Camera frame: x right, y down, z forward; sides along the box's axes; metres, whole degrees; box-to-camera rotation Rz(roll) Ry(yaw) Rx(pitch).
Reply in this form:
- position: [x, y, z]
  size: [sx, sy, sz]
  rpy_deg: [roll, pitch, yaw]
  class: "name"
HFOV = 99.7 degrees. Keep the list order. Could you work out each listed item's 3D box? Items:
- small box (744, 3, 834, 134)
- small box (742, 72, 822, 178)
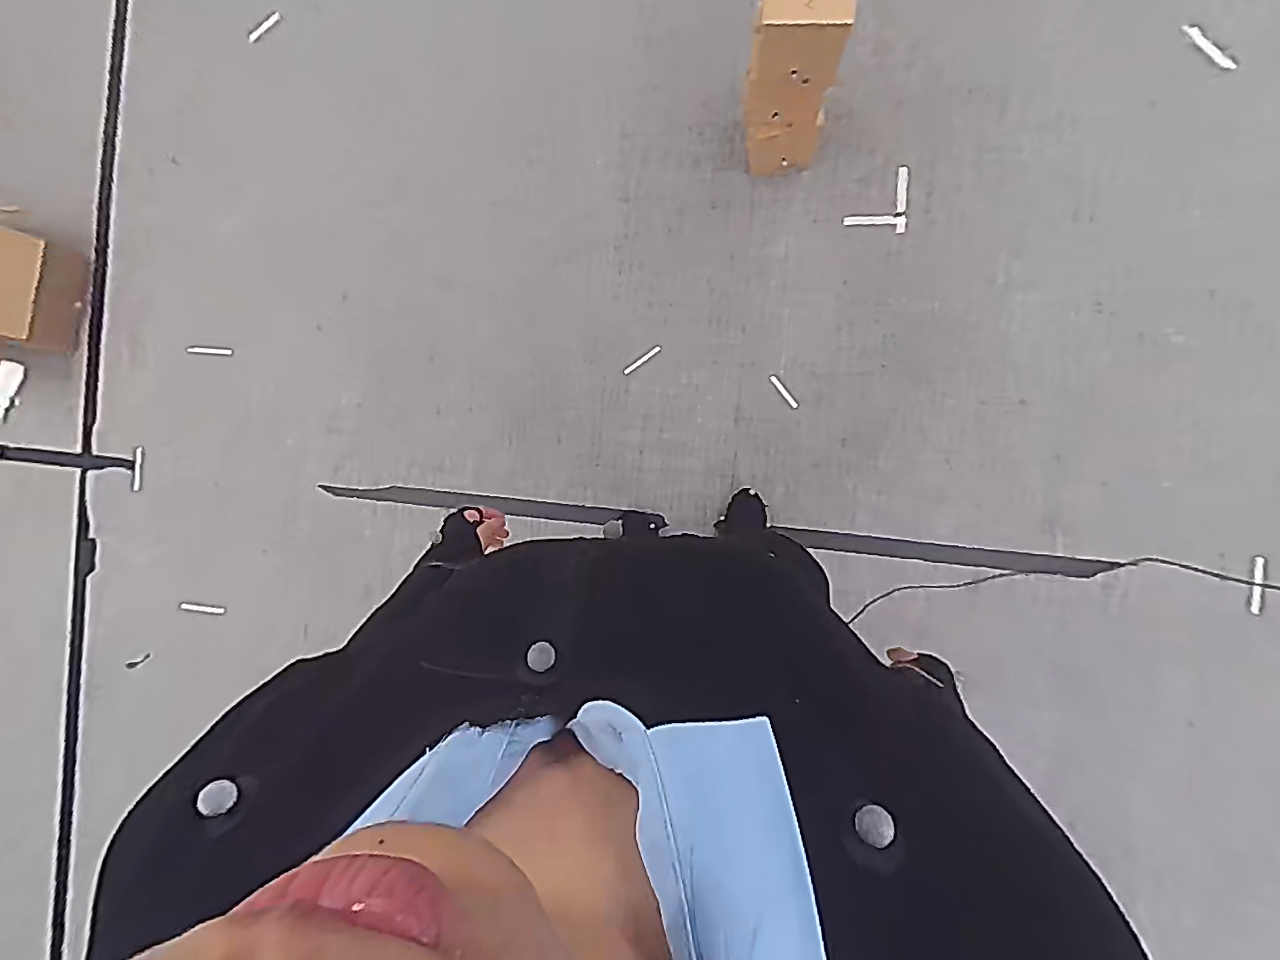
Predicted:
- position: [0.330, -0.928, 1.228]
  size: [0.168, 0.176, 0.179]
  rpy_deg: [5, 90, 7]
  class: "small box"
- position: [0.357, -0.919, 1.388]
  size: [0.168, 0.176, 0.179]
  rpy_deg: [-7, 89, 8]
  class: "small box"
